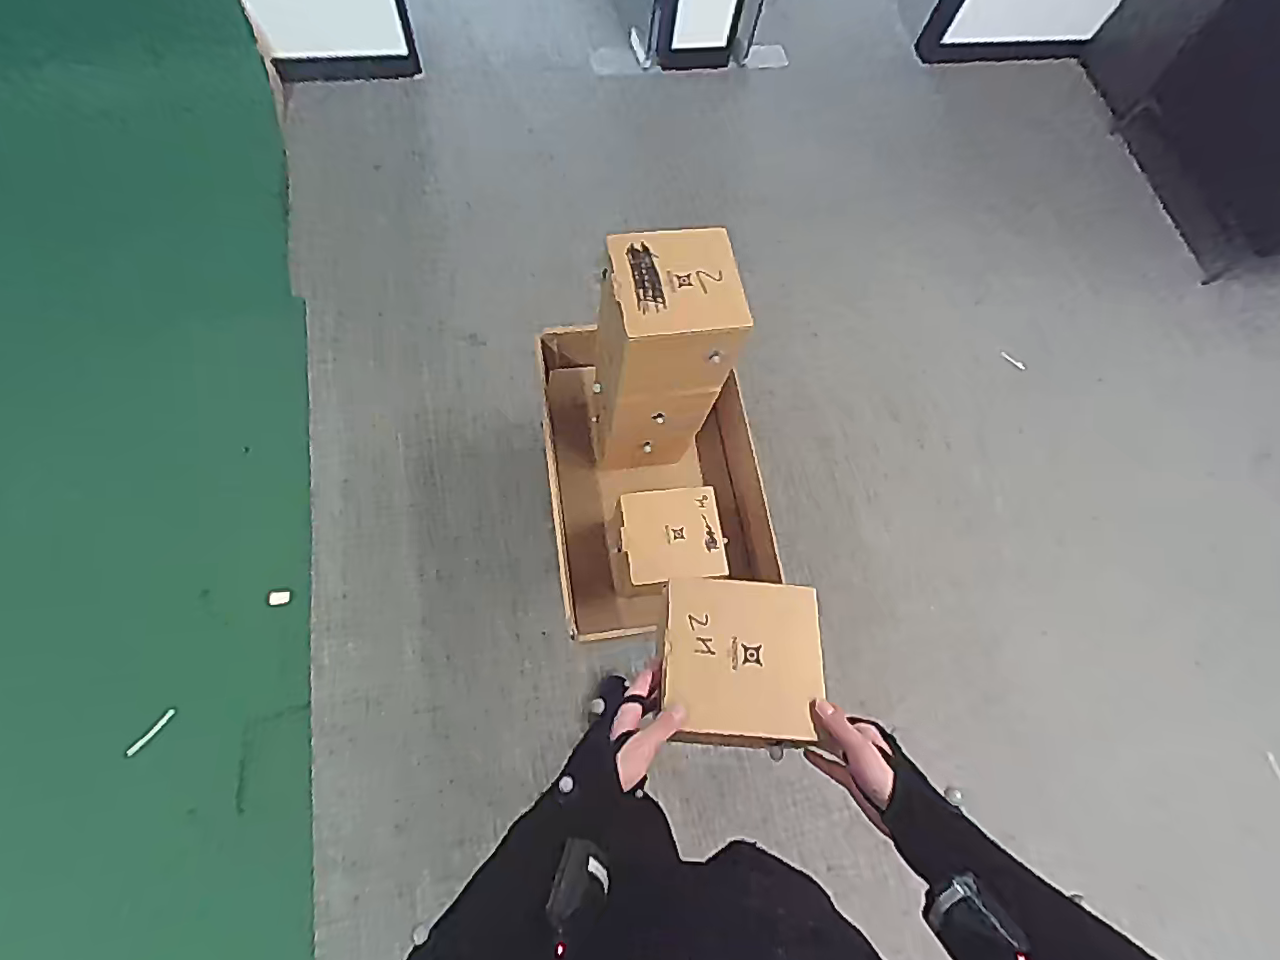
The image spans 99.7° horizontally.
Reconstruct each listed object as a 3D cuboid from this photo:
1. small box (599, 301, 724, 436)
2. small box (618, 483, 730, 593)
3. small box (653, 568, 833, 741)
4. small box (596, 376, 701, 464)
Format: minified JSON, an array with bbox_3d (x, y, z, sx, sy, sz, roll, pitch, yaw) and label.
[{"bbox_3d":[0.028,-0.188,0.943,0.179,0.176,0.168,-8,73,-9],"label":"small box"},{"bbox_3d":[0.053,0.114,1.015,0.179,0.176,0.168,-5,71,-8],"label":"small box"},{"bbox_3d":[0.114,0.219,0.659,0.179,0.176,0.168,5,61,0],"label":"small box"},{"bbox_3d":[0.009,-0.141,1.099,0.179,0.176,0.168,-6,73,-9],"label":"small box"}]
